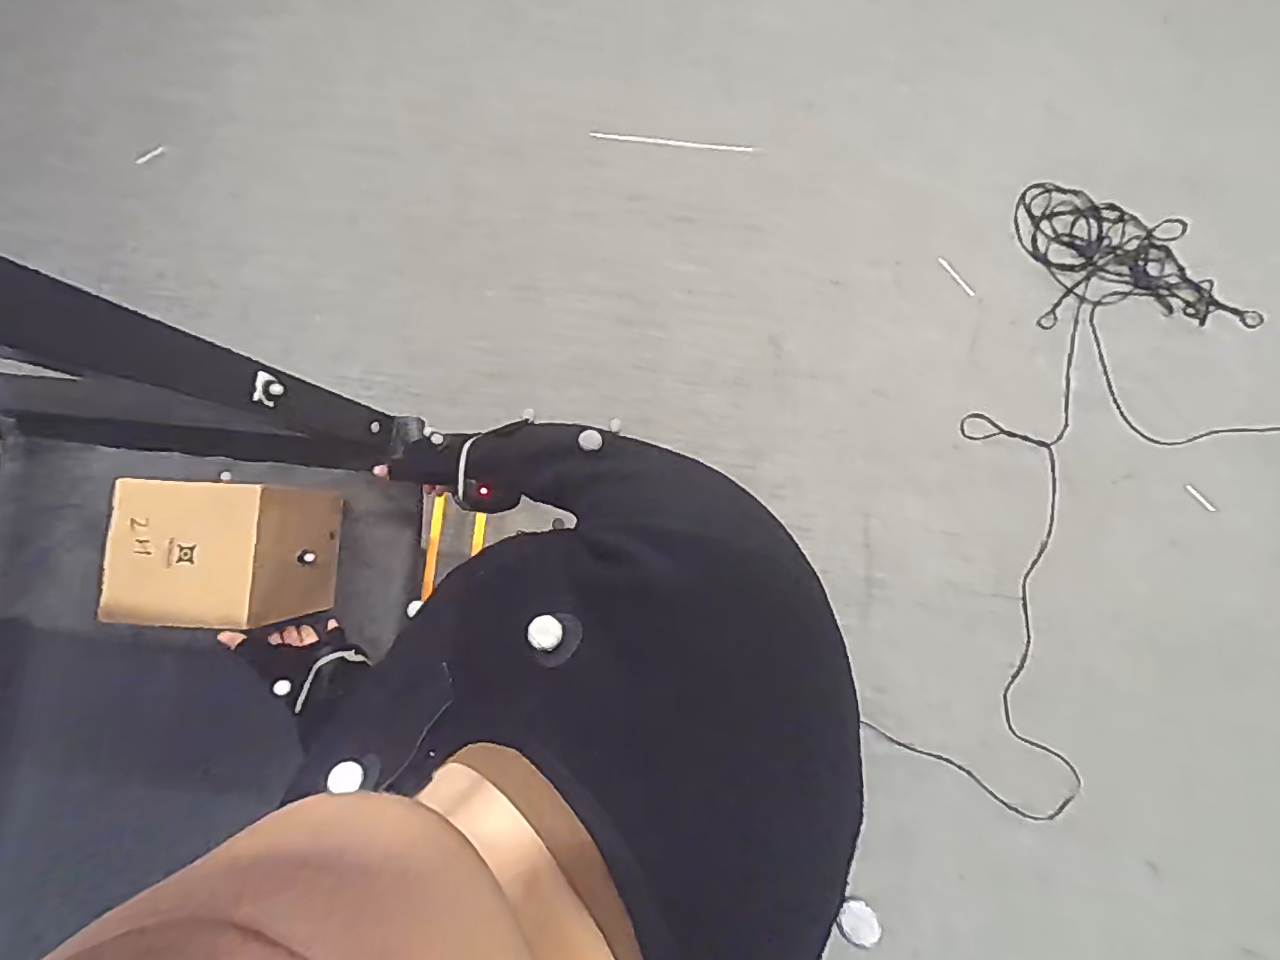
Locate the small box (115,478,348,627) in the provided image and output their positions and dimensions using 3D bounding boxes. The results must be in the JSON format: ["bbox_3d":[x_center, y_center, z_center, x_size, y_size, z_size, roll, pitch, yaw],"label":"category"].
[{"bbox_3d":[-0.511,0.088,0.704,0.179,0.176,0.168,2,85,3],"label":"small box"}]
